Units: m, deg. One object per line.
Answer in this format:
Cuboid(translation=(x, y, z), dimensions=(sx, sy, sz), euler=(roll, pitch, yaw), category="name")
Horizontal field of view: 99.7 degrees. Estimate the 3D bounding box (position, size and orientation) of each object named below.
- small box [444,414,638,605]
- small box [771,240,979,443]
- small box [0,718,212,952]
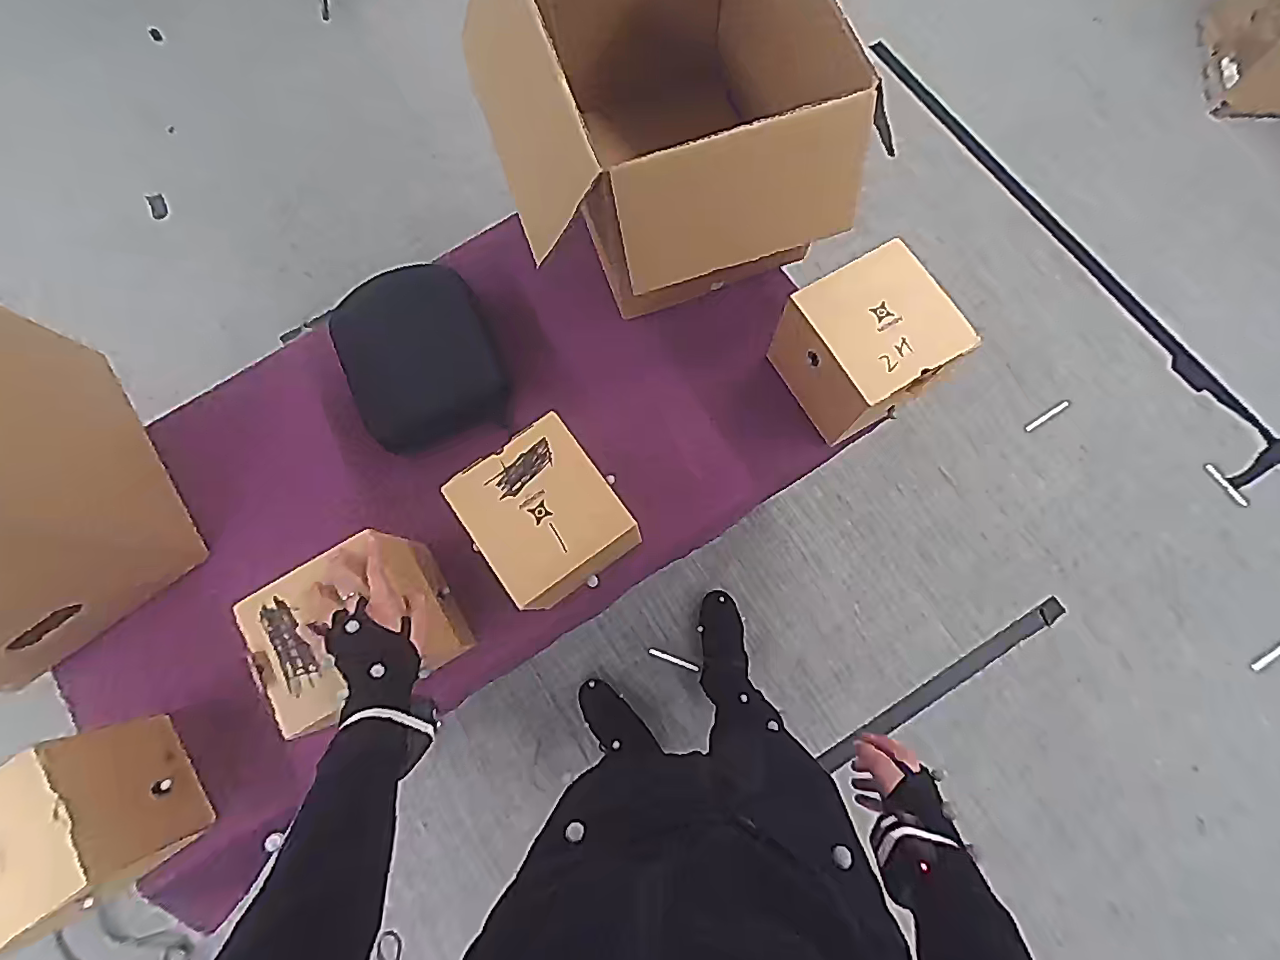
Cuboid(translation=(-0.117, 0.049, 0.708), dimensions=(0.168, 0.176, 0.179), euler=(-36, 79, -5), category="small box")
Cuboid(translation=(0.301, -0.177, 0.740), dimensions=(0.168, 0.176, 0.179), euler=(-29, 77, -4), category="small box")
Cuboid(translation=(-0.679, 0.417, 0.644), dimensions=(0.179, 0.176, 0.168), euler=(-35, 78, -7), category="small box")
